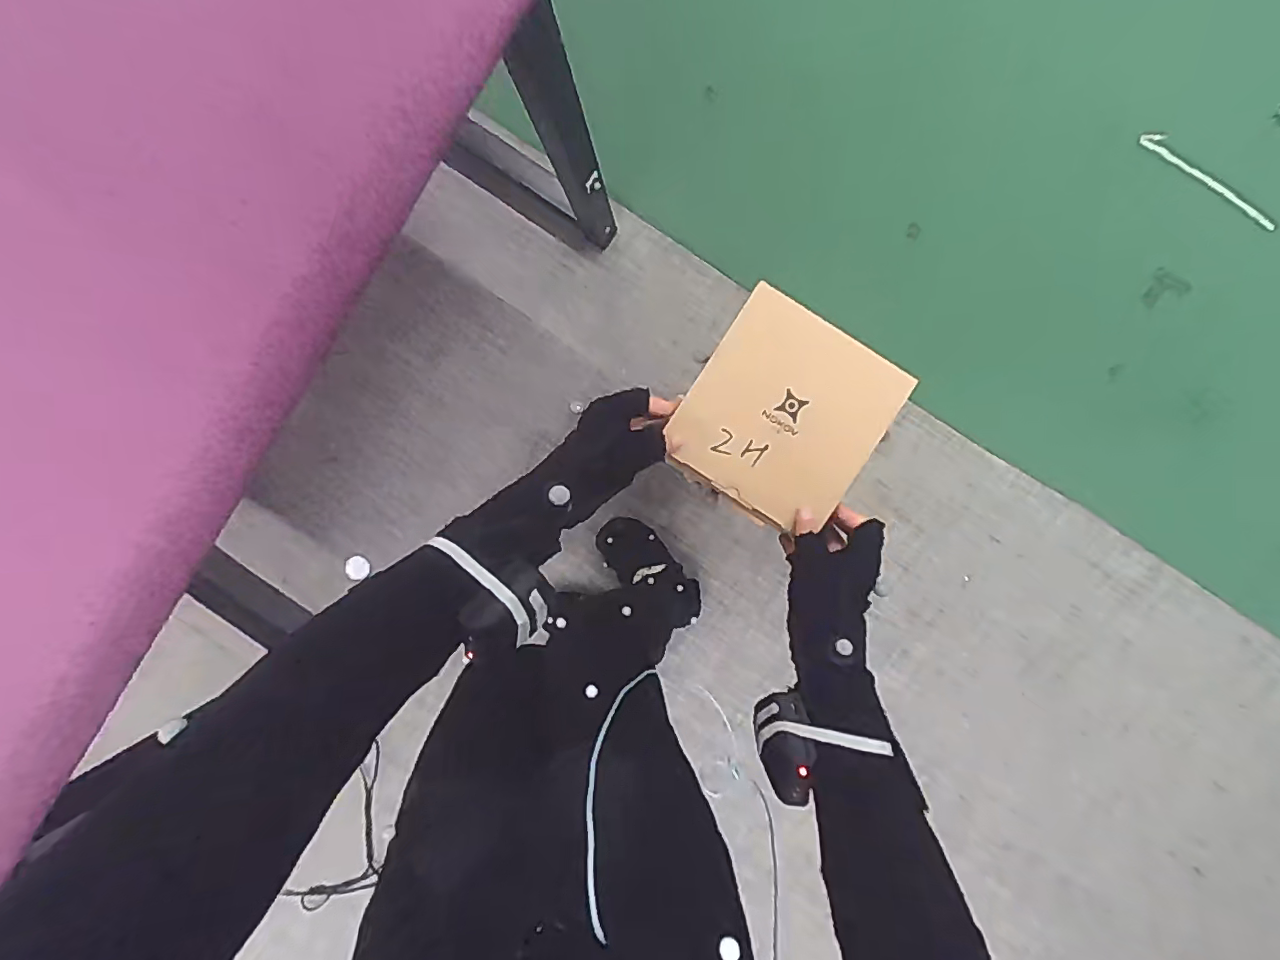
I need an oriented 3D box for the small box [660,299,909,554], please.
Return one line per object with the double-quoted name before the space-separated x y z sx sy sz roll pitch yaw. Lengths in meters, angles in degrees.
"small box" 0.130 -0.050 0.566 0.168 0.176 0.179 34 92 1
